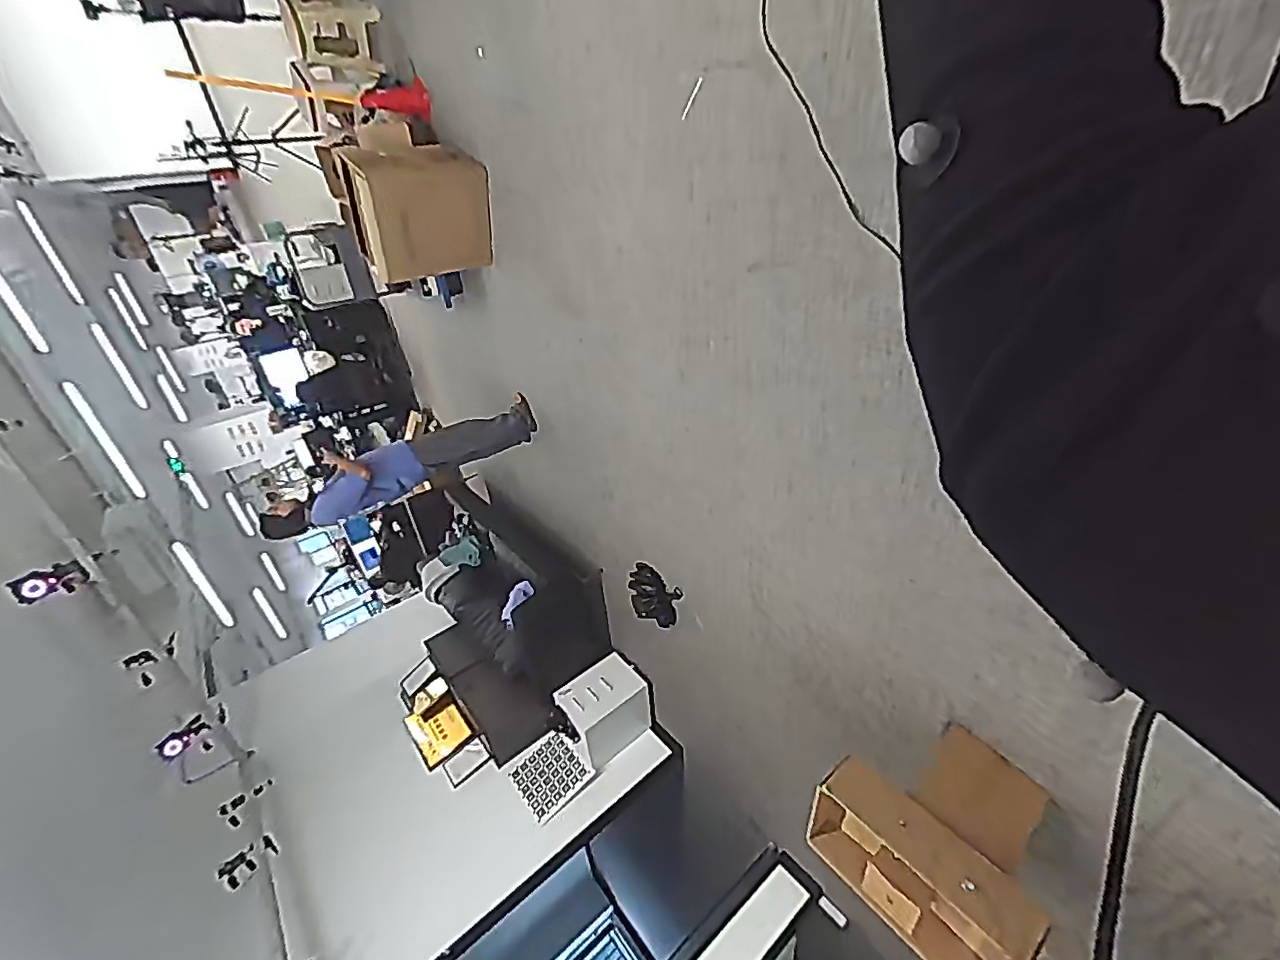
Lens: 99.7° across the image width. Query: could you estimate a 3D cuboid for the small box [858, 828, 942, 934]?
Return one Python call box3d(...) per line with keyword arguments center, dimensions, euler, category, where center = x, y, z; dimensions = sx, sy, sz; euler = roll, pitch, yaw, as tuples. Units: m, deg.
box3d(center=(0.801, 1.228, 1.667), dimensions=(0.168, 0.176, 0.179), euler=(30, 138, 44), category="small box")
